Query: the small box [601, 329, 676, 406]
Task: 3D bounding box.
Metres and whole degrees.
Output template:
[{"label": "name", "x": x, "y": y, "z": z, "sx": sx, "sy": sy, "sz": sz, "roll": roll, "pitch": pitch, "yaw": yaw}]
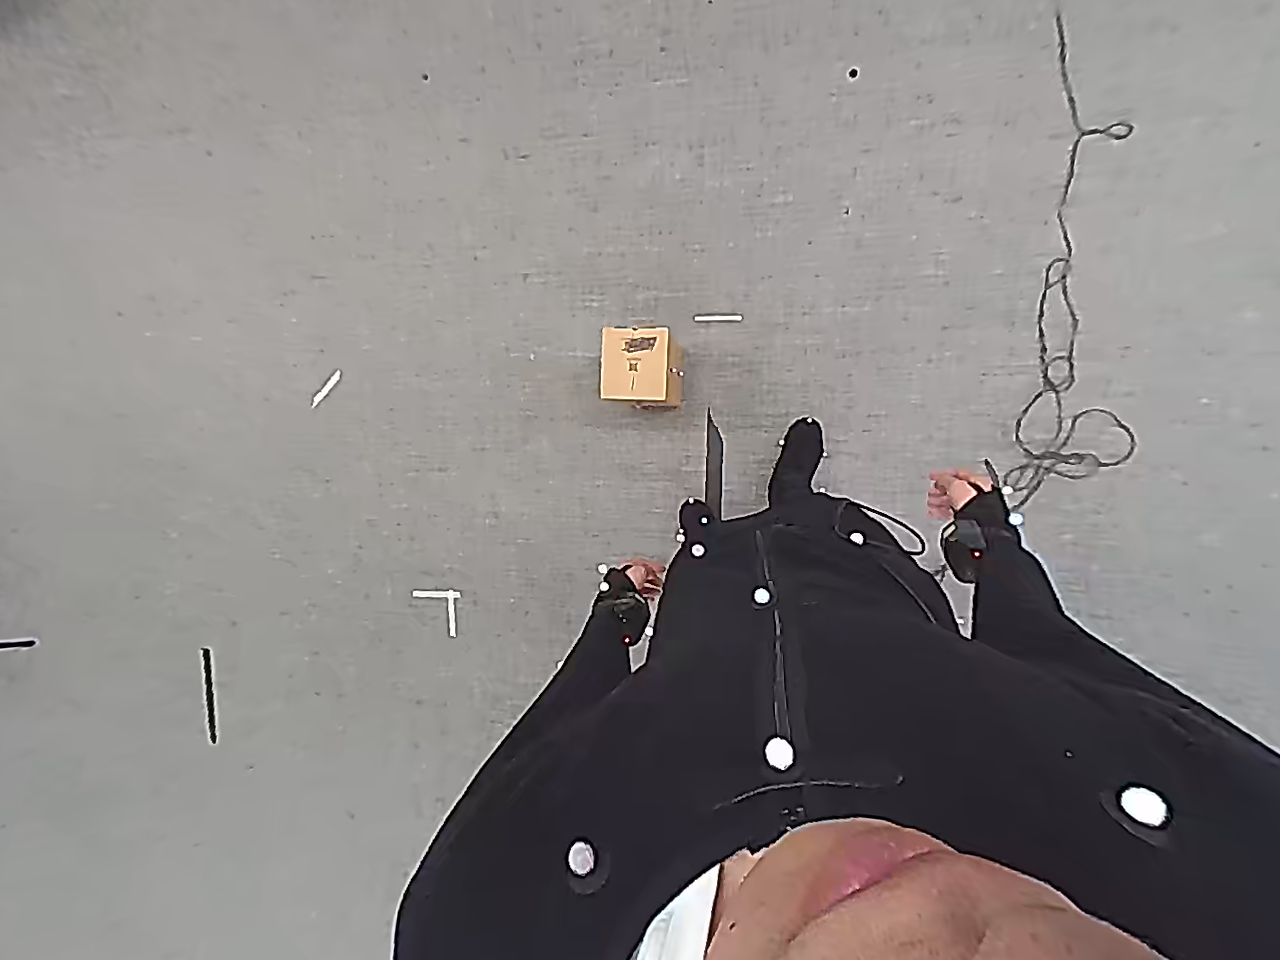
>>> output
[{"label": "small box", "x": 0.000, "y": -0.285, "z": 1.393, "sx": 0.168, "sy": 0.176, "sz": 0.179, "roll": 3, "pitch": 96, "yaw": 10}]
